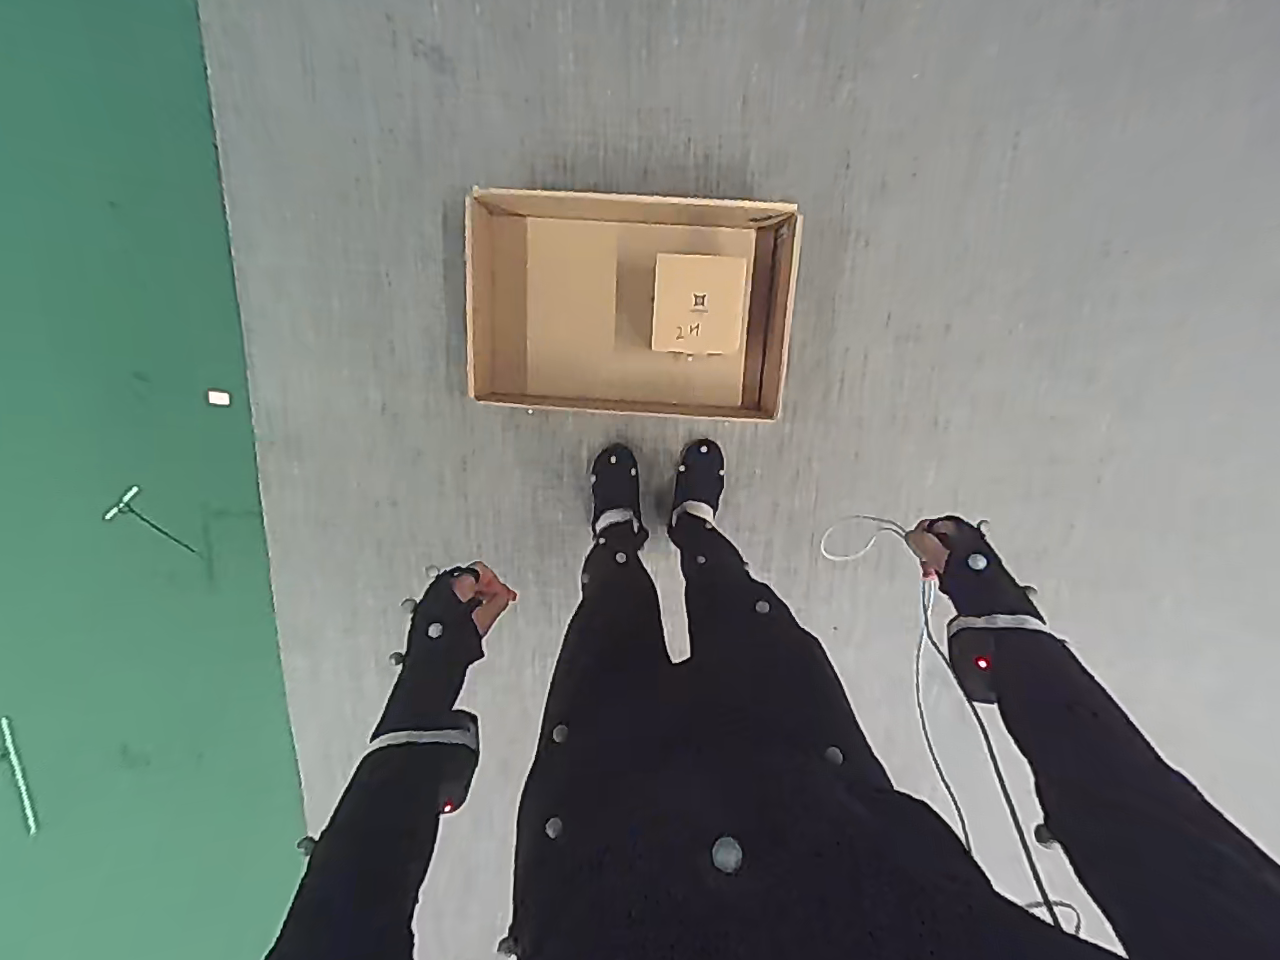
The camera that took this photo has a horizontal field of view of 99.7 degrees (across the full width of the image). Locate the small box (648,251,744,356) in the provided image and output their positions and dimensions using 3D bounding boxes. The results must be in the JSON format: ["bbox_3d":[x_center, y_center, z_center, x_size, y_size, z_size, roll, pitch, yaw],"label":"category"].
[{"bbox_3d":[0.104,-0.342,1.073,0.168,0.176,0.179,4,103,2],"label":"small box"}]
